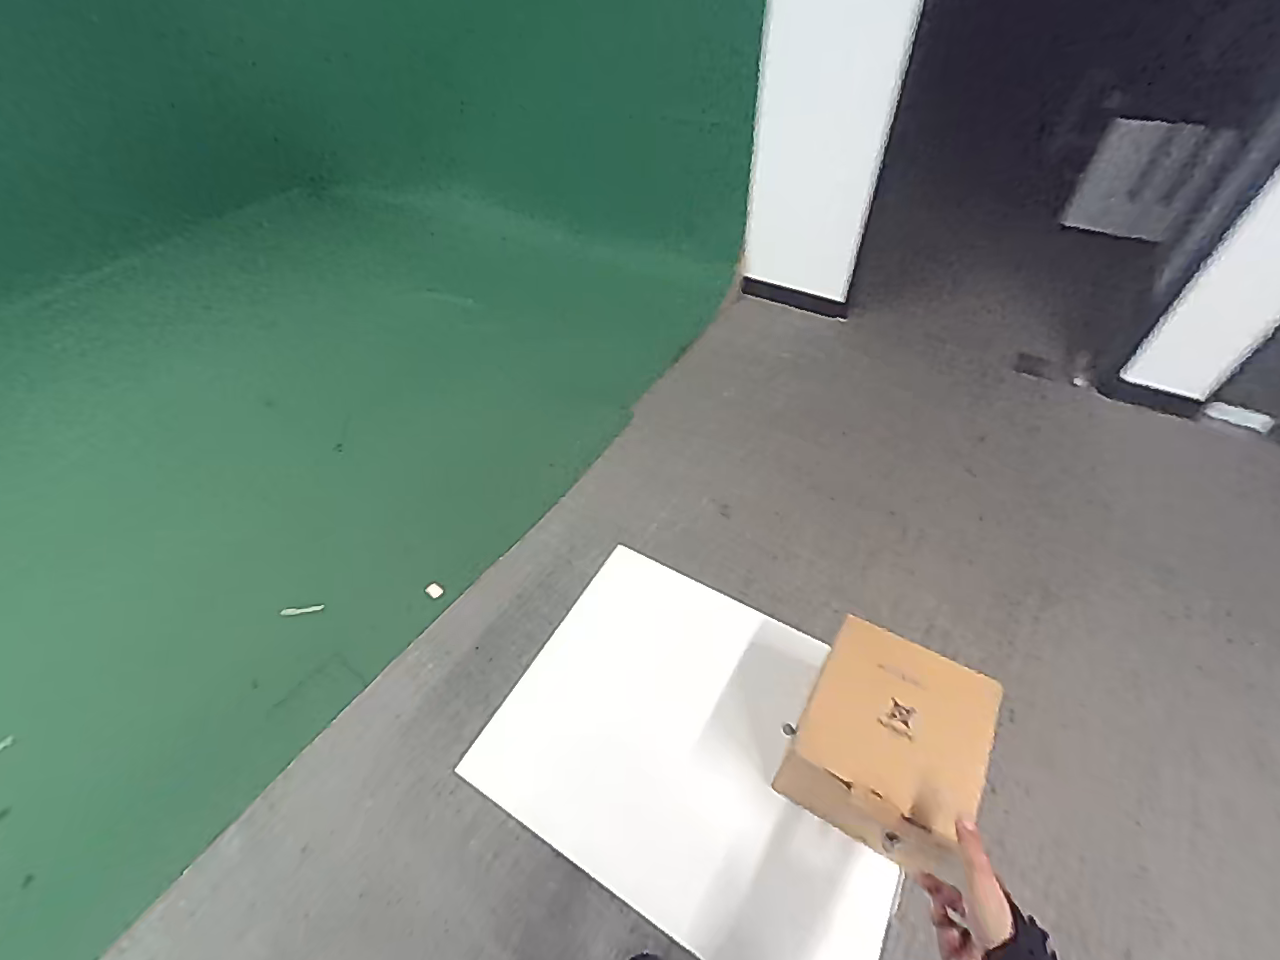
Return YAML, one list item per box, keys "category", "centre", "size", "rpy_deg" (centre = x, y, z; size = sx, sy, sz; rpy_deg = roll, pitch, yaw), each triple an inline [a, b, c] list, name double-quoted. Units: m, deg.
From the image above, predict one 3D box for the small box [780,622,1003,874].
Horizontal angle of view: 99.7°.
- category: "small box"
  centre: [0.268, 0.302, 0.606]
  size: [0.168, 0.176, 0.179]
  rpy_deg: [24, 54, 22]
